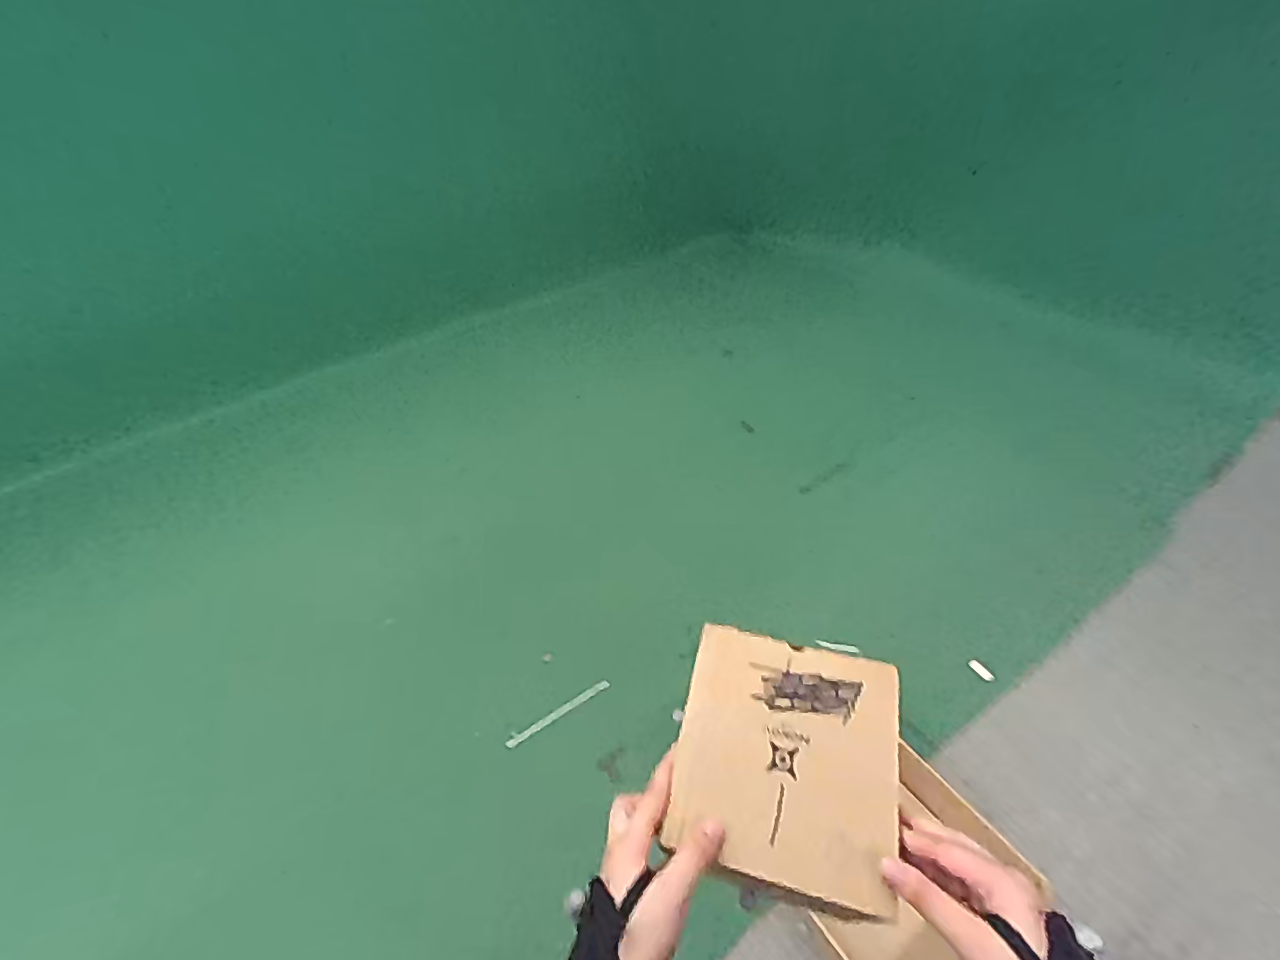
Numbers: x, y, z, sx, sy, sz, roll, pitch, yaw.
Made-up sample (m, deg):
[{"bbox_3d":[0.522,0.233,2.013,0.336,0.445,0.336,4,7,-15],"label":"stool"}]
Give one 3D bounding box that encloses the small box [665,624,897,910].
[{"bbox_3d":[0.123,0.260,0.494,0.168,0.176,0.179,8,52,13],"label":"small box"}]
